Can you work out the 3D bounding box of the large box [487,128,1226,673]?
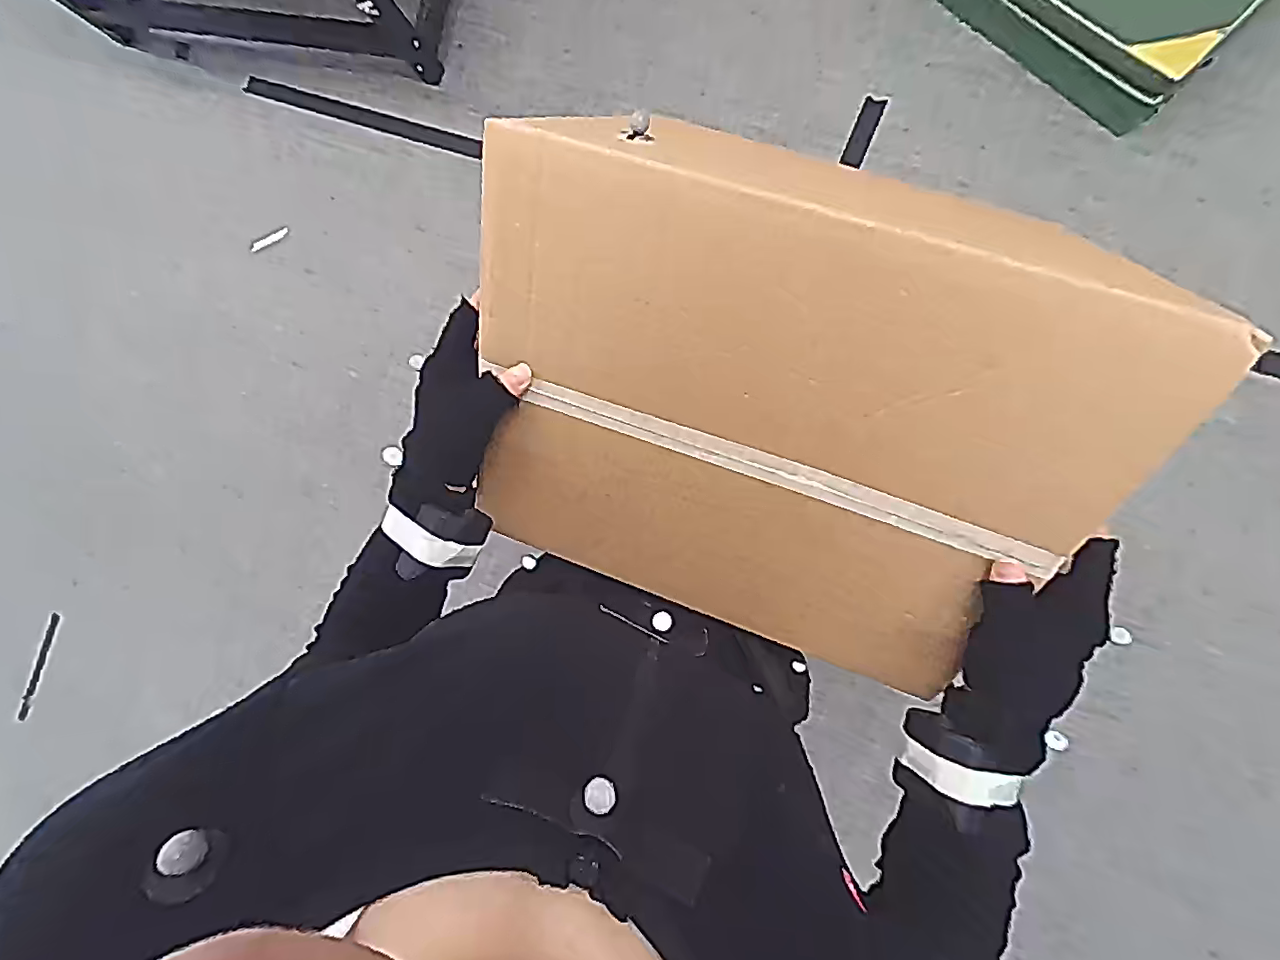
[{"bbox_3d":[0.116,-0.103,0.495,0.408,0.320,0.320,20,128,8],"label":"large box"}]
